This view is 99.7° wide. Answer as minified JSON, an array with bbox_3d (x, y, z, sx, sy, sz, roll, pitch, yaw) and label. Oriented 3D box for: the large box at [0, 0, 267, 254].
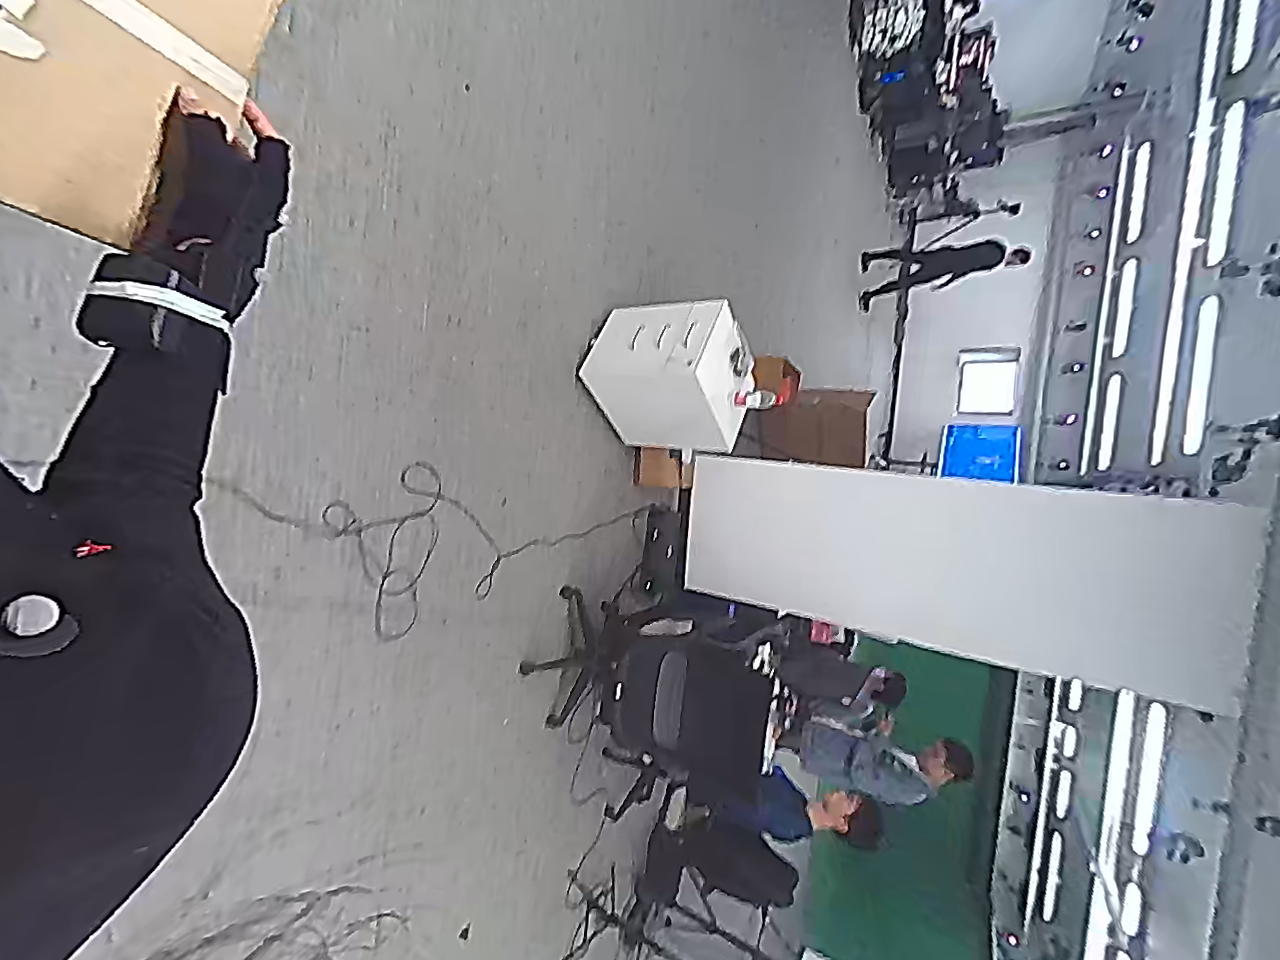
[{"bbox_3d":[-0.552,-0.413,0.350,0.408,0.320,0.320,17,99,-62],"label":"large box"}]
